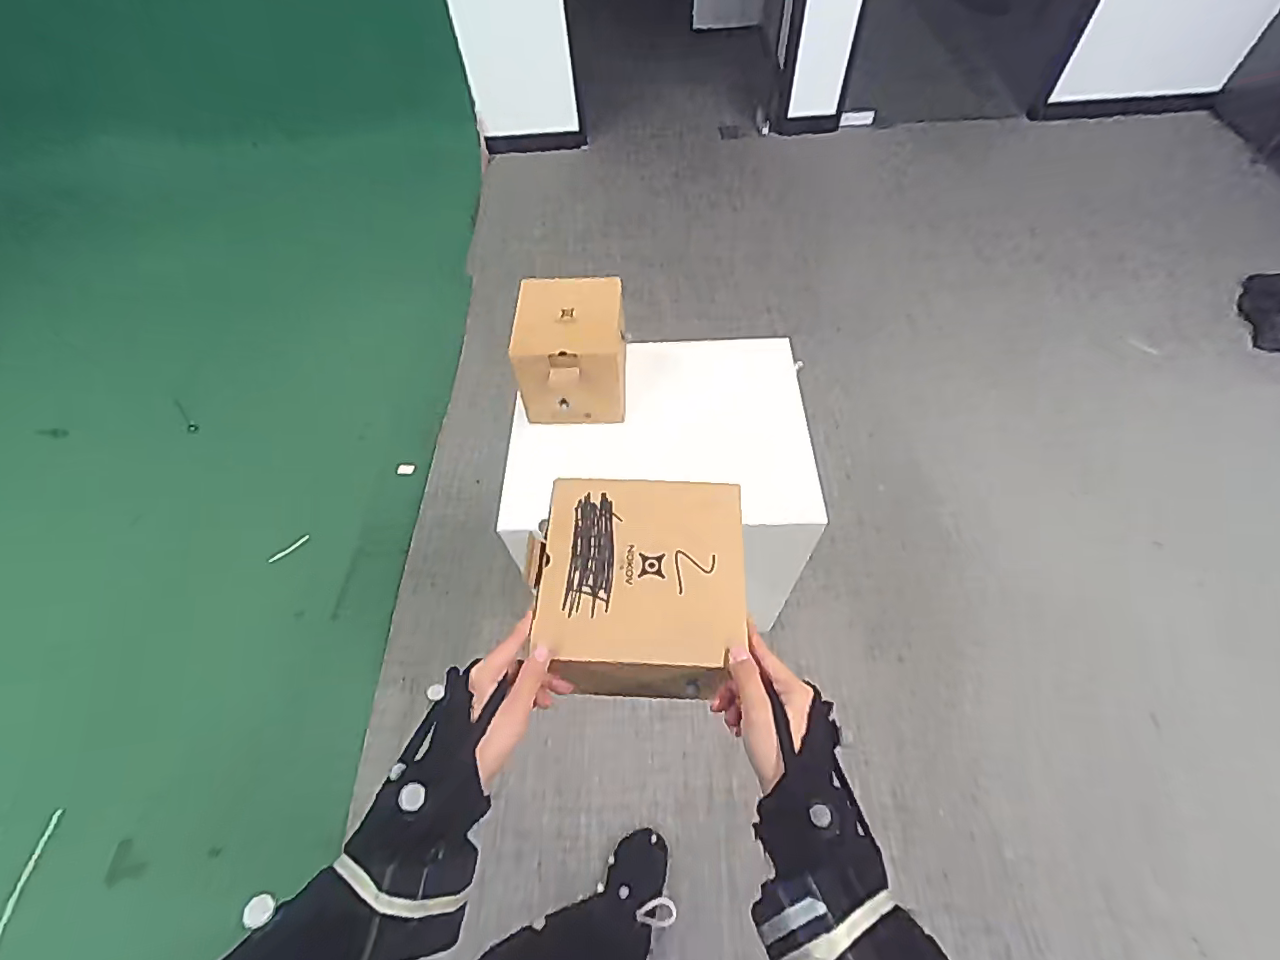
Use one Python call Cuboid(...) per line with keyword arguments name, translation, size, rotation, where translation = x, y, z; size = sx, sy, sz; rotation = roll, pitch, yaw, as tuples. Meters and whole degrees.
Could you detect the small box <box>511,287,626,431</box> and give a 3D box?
Cuboid(name="small box", translation=(-0.110, -0.202, 0.913), size=(0.168, 0.176, 0.179), rotation=(-1, 58, 1))
